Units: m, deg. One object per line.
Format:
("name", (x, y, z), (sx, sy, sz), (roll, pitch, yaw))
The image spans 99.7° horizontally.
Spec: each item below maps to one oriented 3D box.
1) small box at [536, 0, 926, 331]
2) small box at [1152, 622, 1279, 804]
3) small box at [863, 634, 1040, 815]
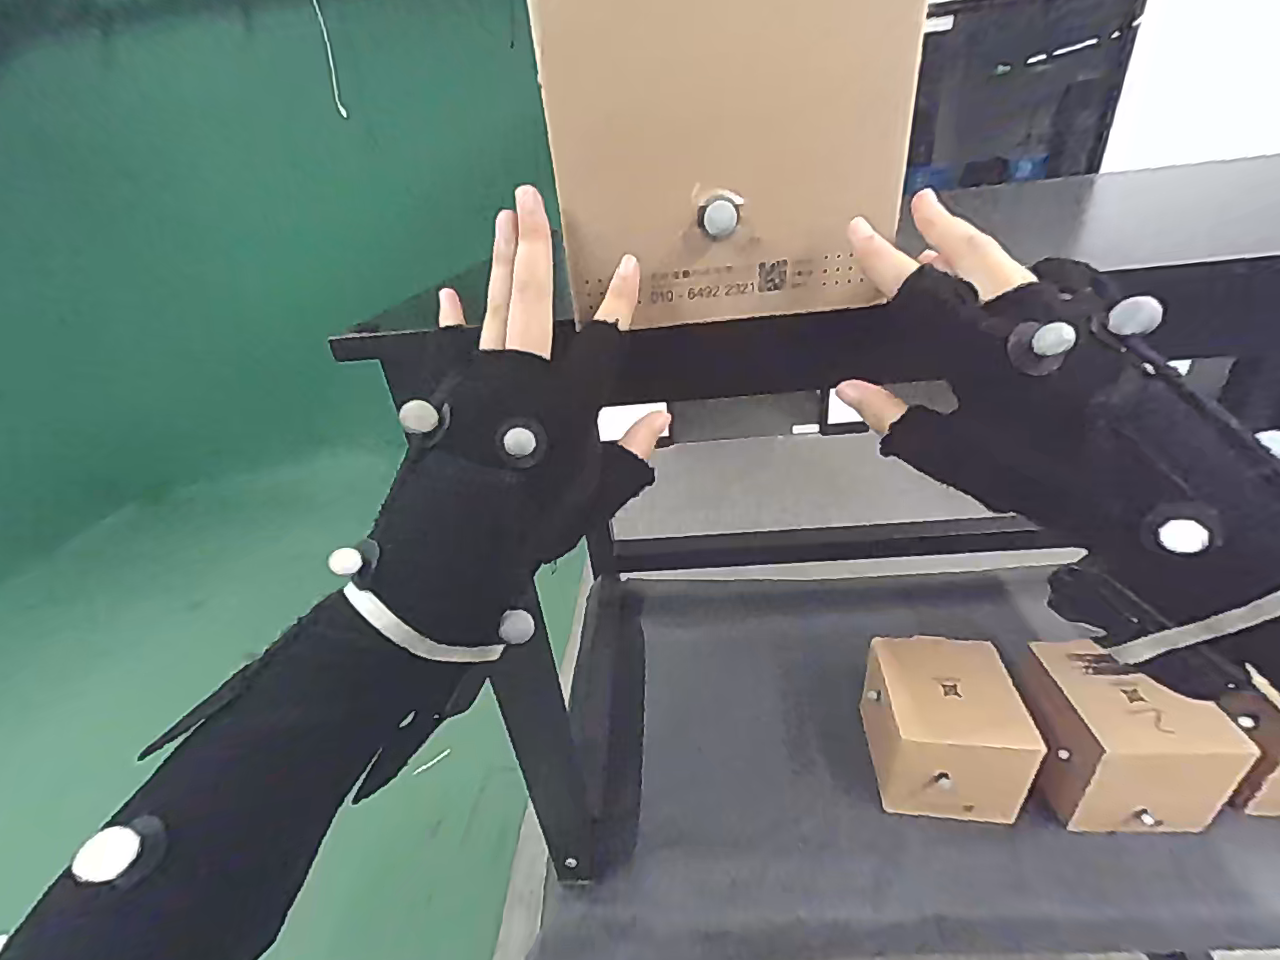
("small box", (0.040, -0.195, 0.321), (0.168, 0.176, 0.179), (-5, 31, 2))
("small box", (0.865, 0.315, 0.732), (0.168, 0.176, 0.179), (-2, 29, 8))
("small box", (0.427, 0.346, 0.775), (0.168, 0.176, 0.179), (-1, 30, 10))
